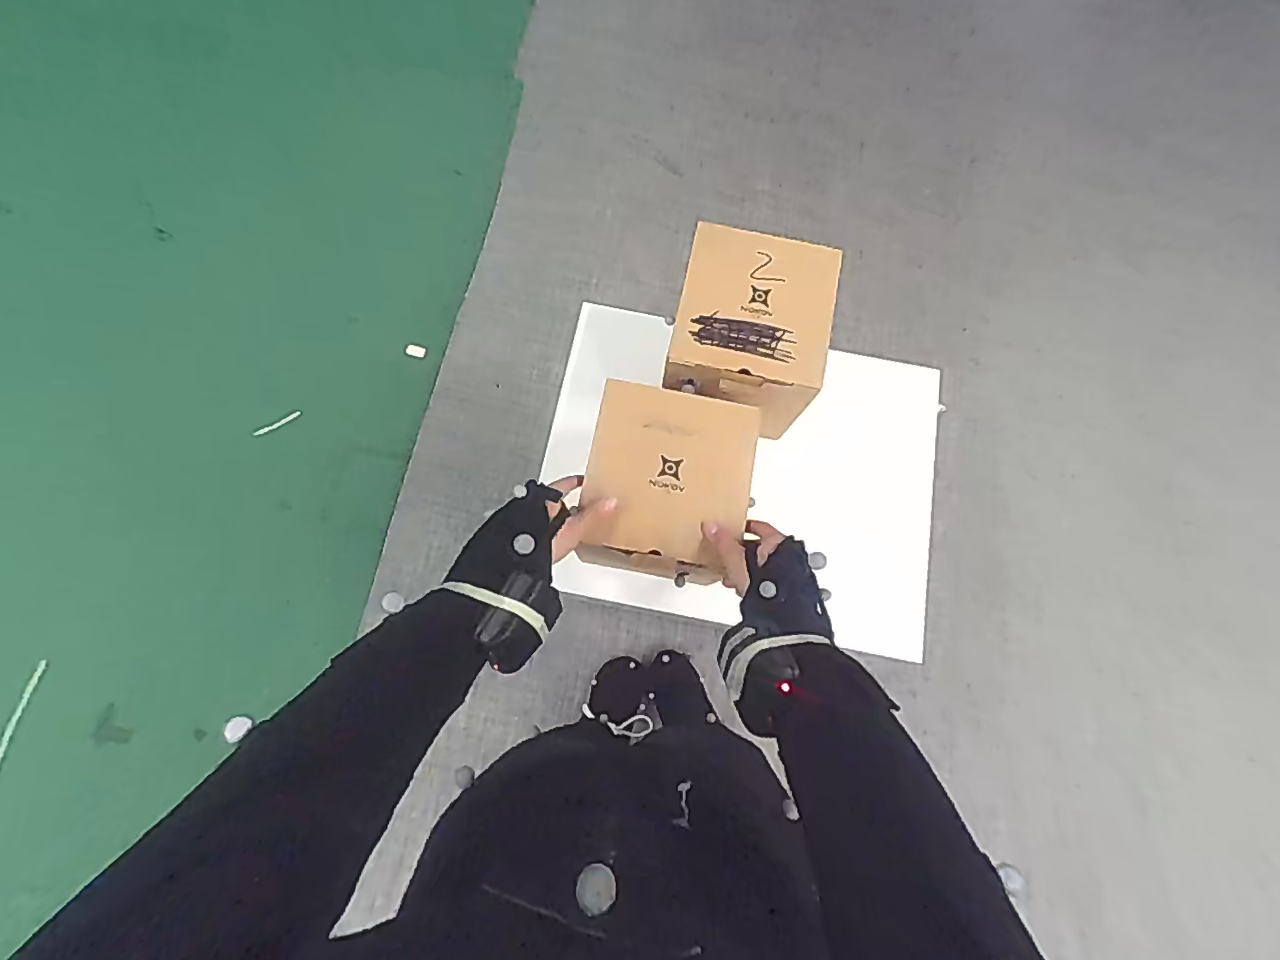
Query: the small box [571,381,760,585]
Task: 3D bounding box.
[{"bbox_3d":[0.025,0.016,0.611,0.168,0.176,0.179,11,73,-1],"label":"small box"}]
